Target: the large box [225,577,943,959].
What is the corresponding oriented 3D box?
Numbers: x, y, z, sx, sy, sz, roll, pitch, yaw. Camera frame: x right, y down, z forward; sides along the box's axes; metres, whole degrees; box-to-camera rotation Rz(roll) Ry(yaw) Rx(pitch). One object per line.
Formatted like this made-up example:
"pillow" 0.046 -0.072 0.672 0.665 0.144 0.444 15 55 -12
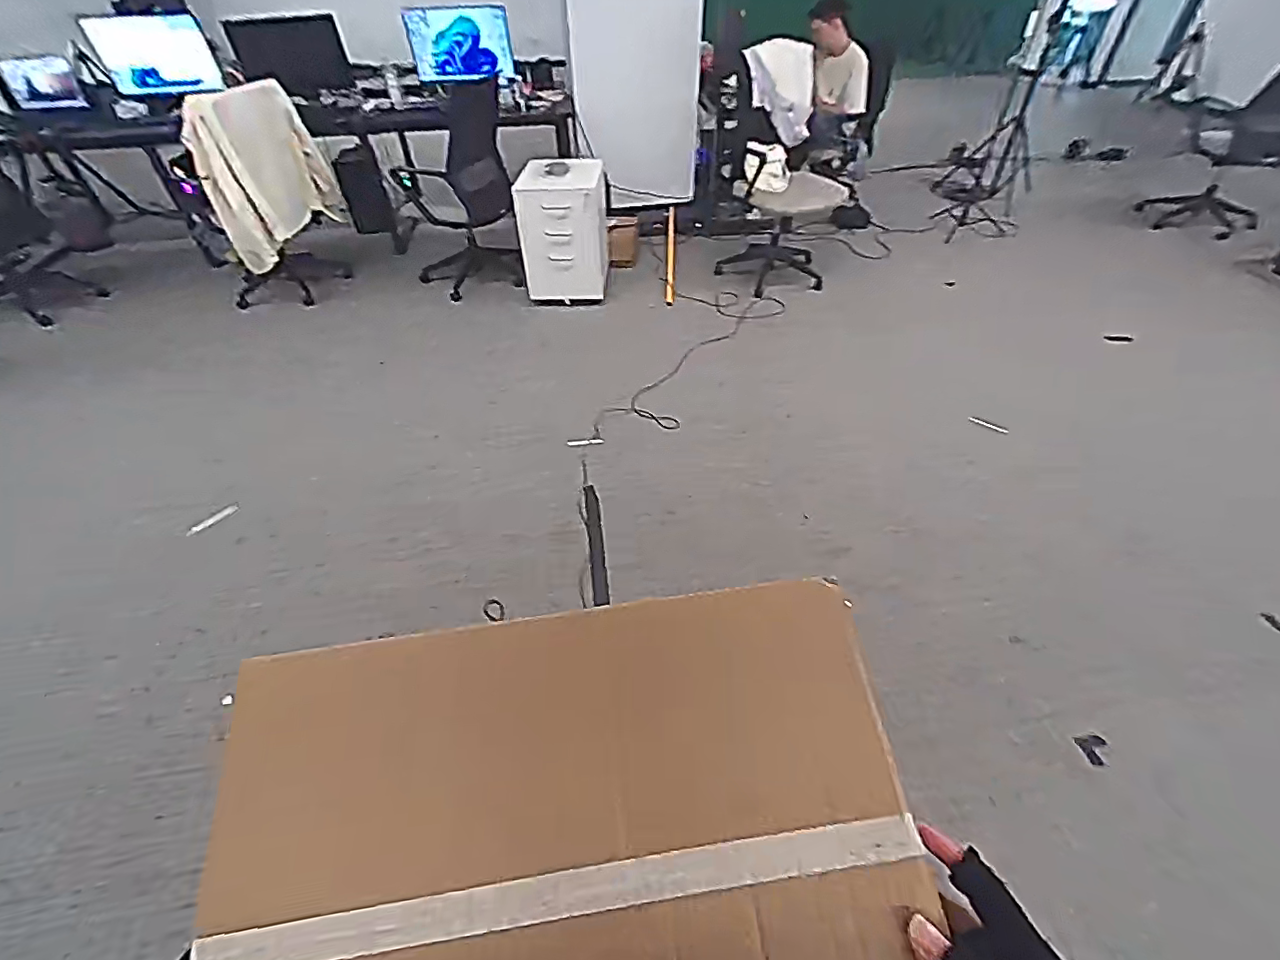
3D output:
"large box" -0.037 0.298 0.450 0.408 0.320 0.320 -8 66 -3
